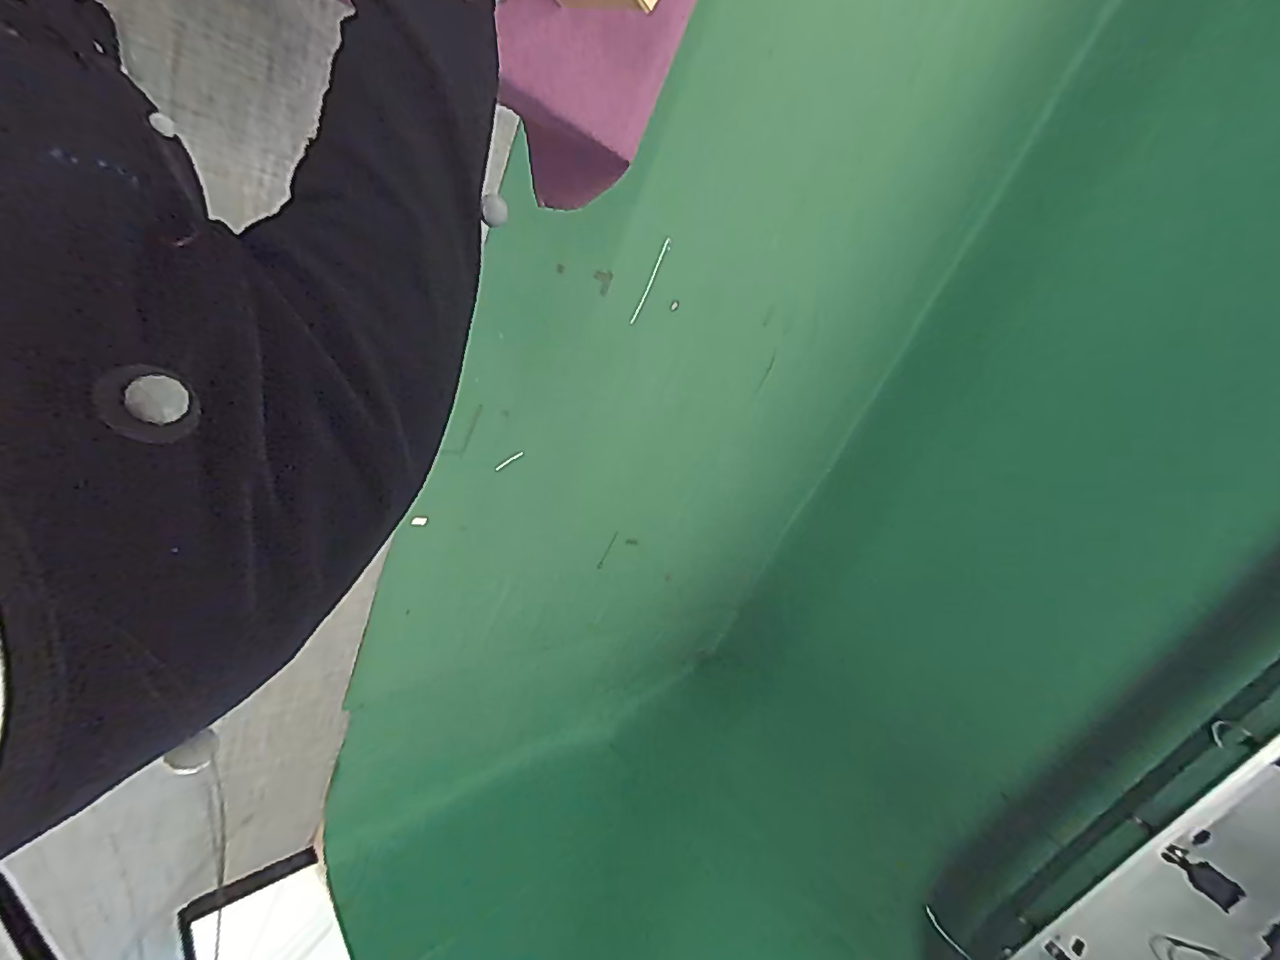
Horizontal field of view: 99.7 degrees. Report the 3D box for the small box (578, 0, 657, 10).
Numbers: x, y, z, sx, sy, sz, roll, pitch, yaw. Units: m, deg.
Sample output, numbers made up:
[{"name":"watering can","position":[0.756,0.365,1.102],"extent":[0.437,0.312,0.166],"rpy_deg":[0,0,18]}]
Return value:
[{"name":"small box","position":[-0.041,-0.610,0.522],"extent":[0.168,0.176,0.179],"rpy_deg":[15,110,-53]}]
